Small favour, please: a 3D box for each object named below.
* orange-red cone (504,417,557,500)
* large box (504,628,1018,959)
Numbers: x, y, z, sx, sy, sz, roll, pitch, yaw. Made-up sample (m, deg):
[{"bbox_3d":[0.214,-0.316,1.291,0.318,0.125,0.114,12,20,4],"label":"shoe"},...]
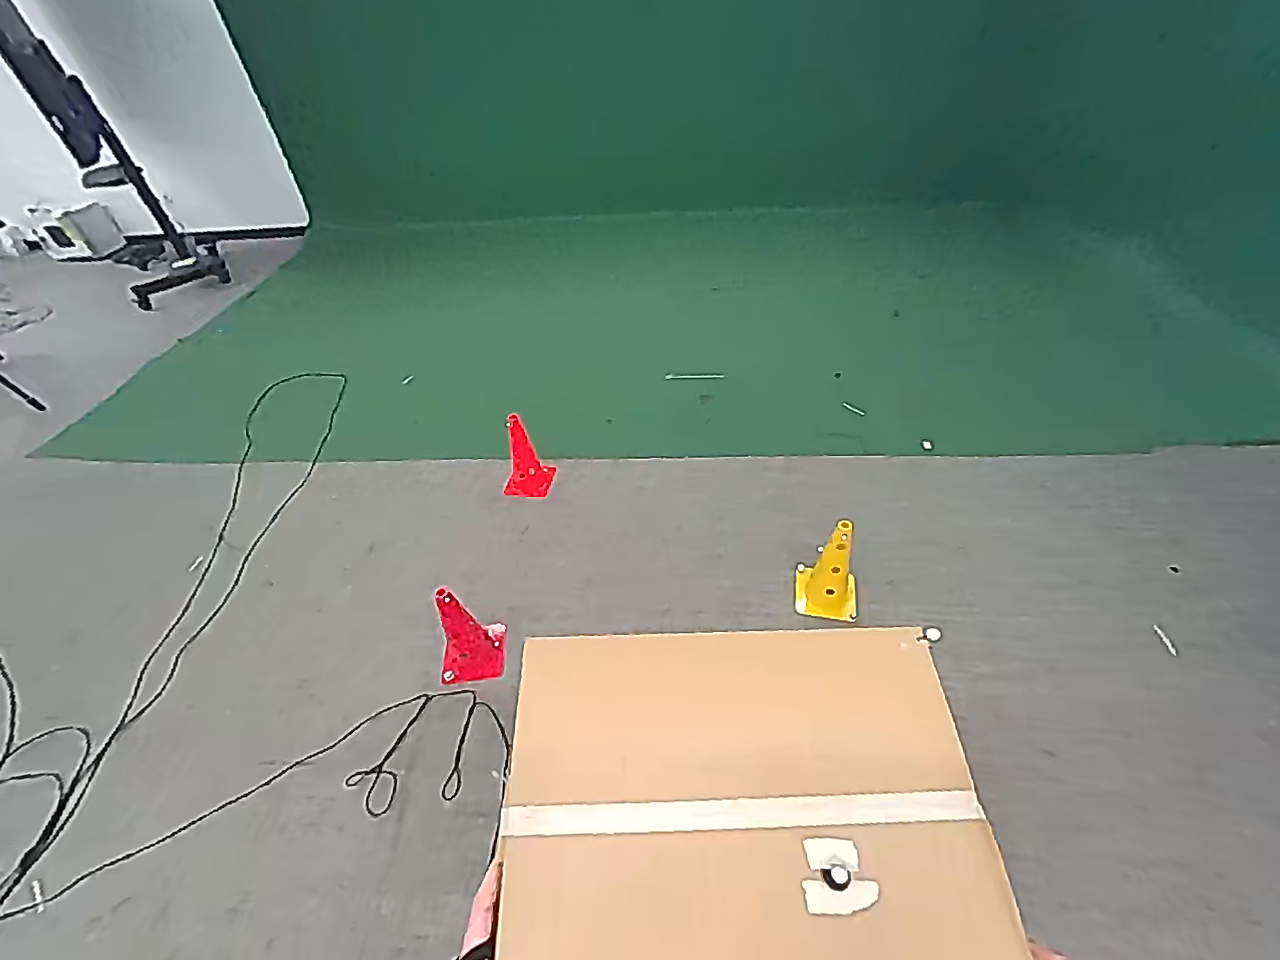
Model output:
[{"bbox_3d":[-0.497,-0.111,2.275,0.199,0.360,0.198,4,43,11],"label":"orange-red cone"},{"bbox_3d":[0.087,0.373,0.594,0.408,0.320,0.320,-2,56,-1],"label":"large box"}]
